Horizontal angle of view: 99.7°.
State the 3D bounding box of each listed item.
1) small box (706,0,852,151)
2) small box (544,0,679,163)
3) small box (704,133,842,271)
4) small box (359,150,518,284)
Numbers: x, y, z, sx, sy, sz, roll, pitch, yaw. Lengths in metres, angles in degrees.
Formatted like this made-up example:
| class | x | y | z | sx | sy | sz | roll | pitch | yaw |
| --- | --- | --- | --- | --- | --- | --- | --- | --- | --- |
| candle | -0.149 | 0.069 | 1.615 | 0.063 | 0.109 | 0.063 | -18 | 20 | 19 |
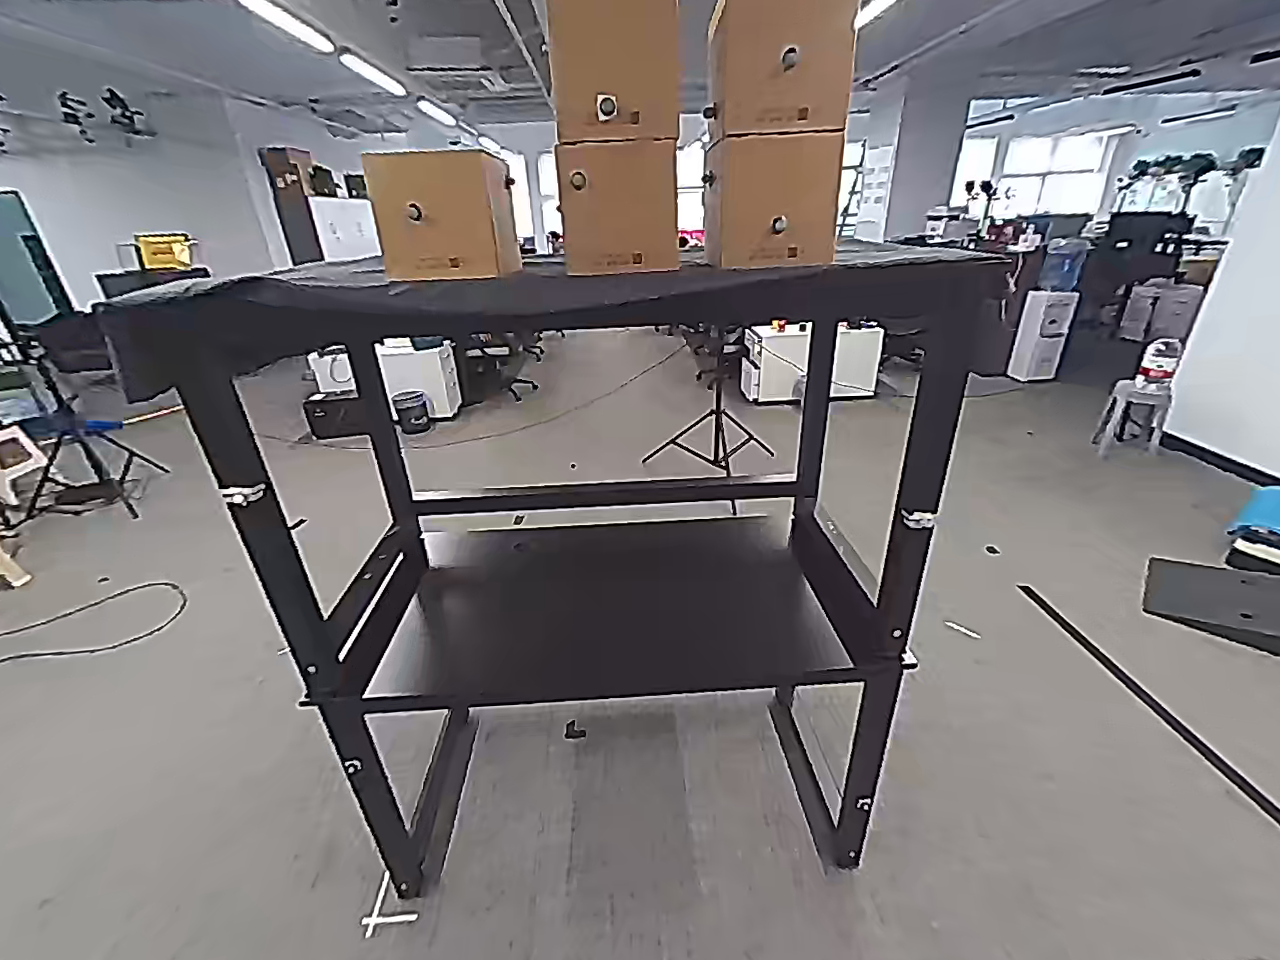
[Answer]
| class | x | y | z | sx | sy | sz | roll | pitch | yaw |
| --- | --- | --- | --- | --- | --- | --- | --- | --- | --- |
| small box | 0.183 | -0.563 | 0.754 | 0.168 | 0.176 | 0.179 | -2 | 26 | 0 |
| small box | -0.036 | -0.554 | 0.761 | 0.168 | 0.176 | 0.179 | -5 | 25 | -2 |
| small box | 0.189 | -0.414 | 0.823 | 0.168 | 0.176 | 0.179 | -4 | 25 | 0 |
| small box | -0.292 | -0.395 | 0.831 | 0.168 | 0.176 | 0.179 | -2 | 25 | 1 |
